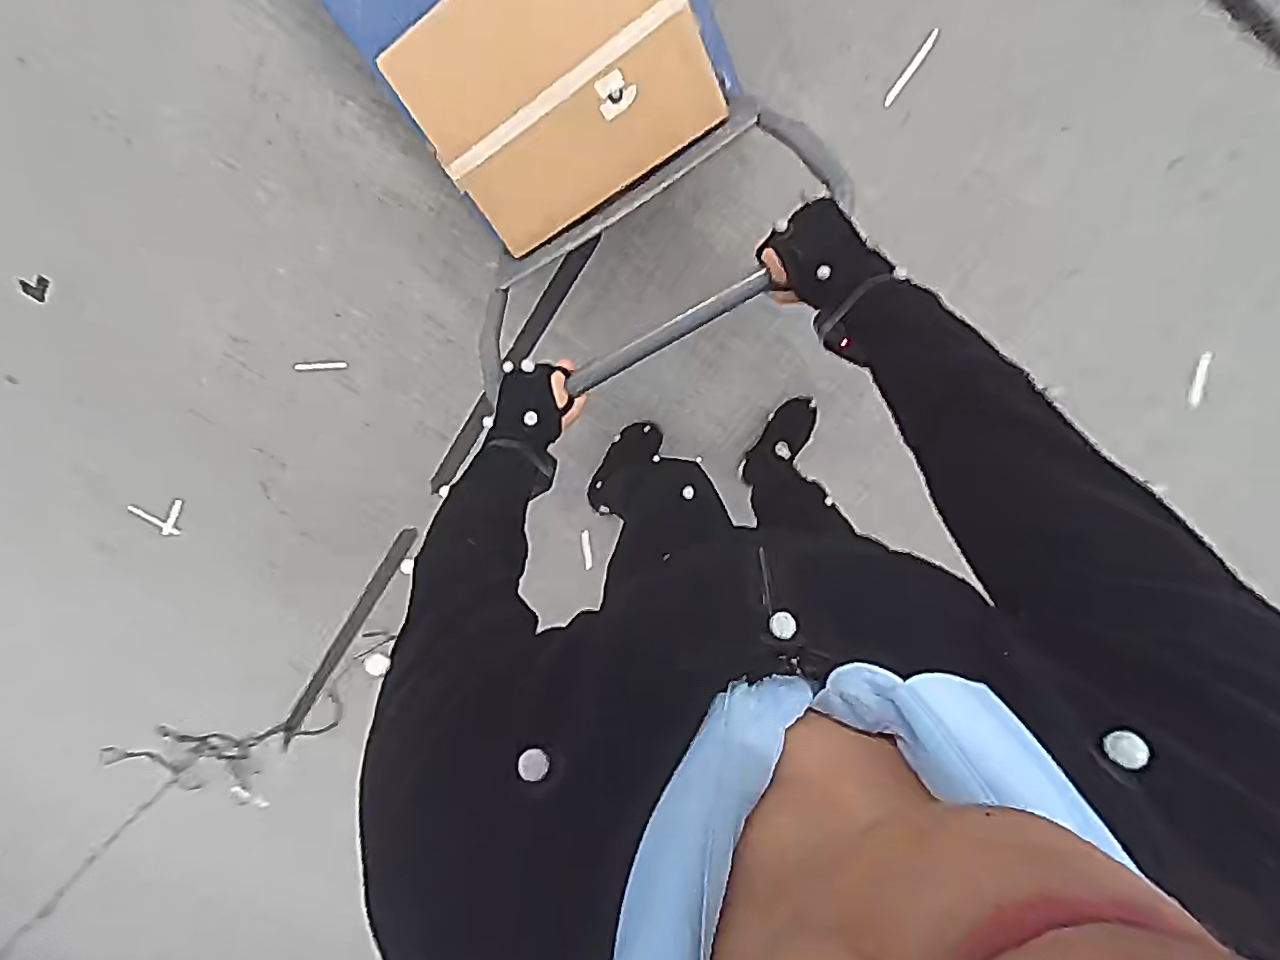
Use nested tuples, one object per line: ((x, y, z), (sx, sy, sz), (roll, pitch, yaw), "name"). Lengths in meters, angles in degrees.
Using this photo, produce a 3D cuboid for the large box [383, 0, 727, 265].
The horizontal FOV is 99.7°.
((-0.126, -0.635, 0.891), (0.408, 0.320, 0.320), (-28, 126, 15), "large box")
